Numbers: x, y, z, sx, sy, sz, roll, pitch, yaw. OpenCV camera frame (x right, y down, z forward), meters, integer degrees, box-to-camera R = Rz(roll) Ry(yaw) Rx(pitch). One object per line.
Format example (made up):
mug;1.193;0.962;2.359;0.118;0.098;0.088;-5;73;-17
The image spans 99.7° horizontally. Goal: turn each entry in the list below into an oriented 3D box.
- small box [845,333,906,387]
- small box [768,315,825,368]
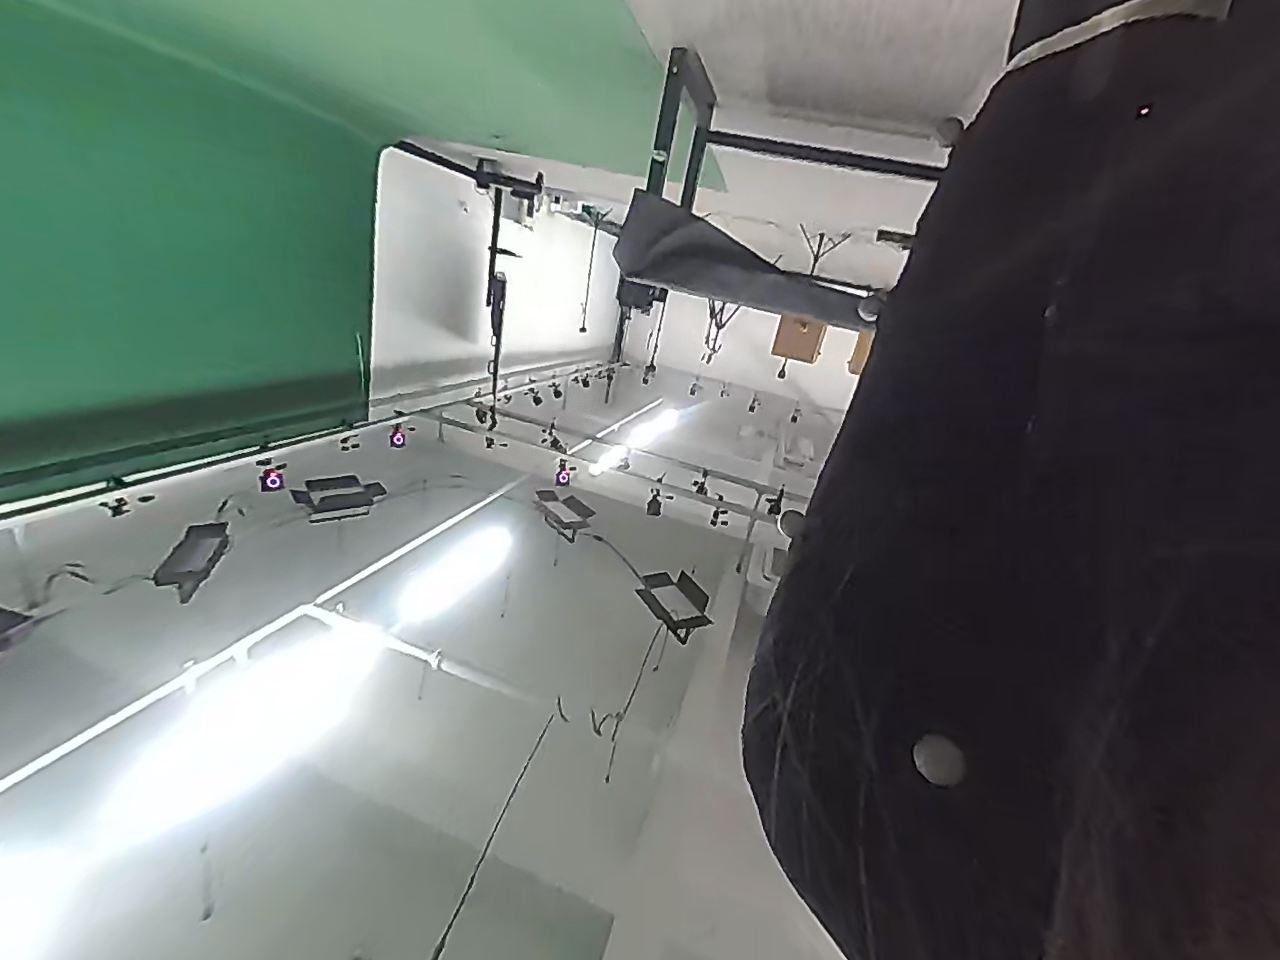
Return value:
small box;0.900;-0.463;2.069;0.168;0.176;0.179;17;-159;13
small box;0.619;-0.548;2.127;0.168;0.176;0.179;18;-160;19
